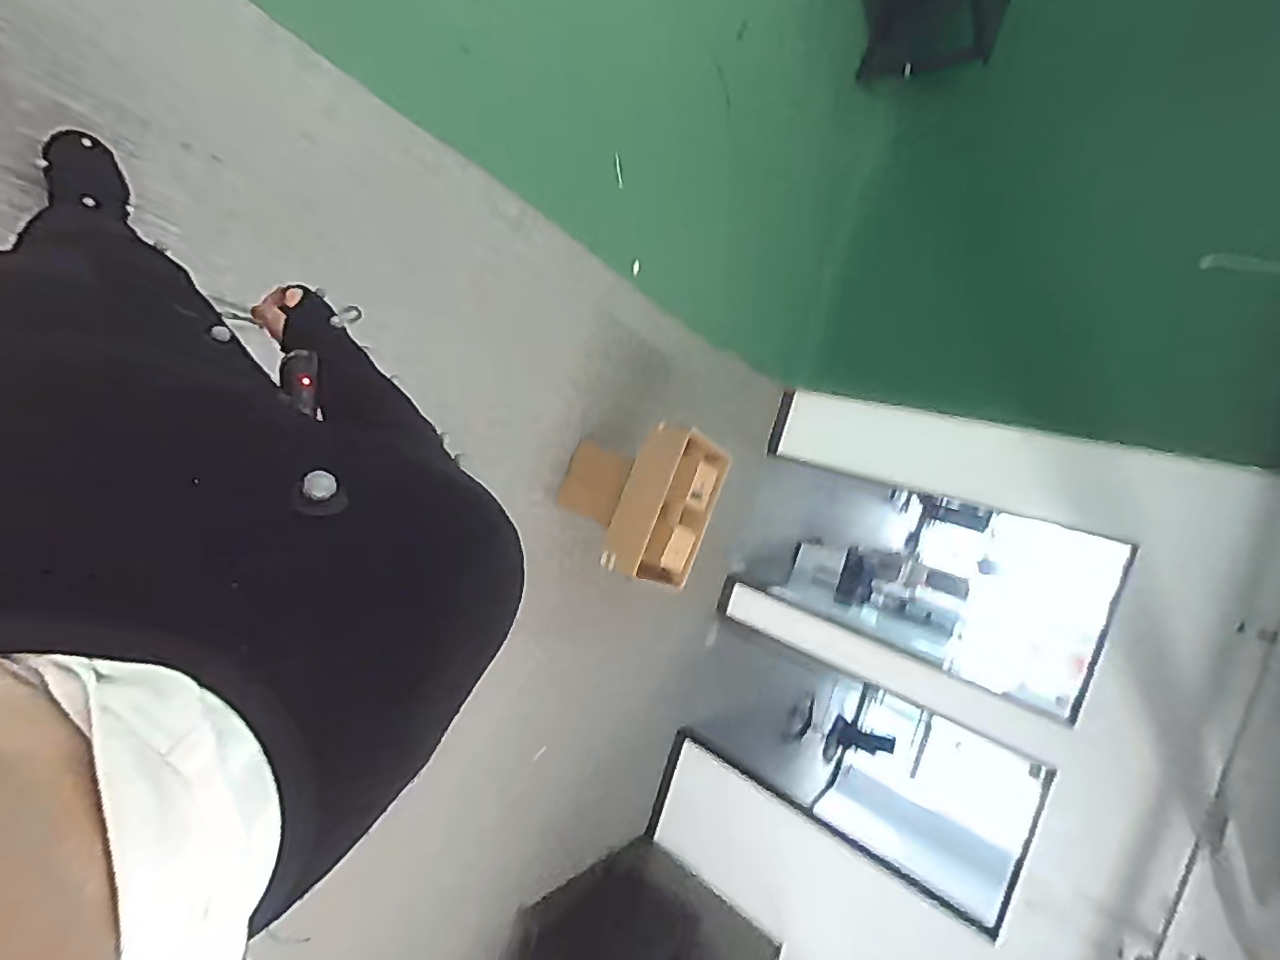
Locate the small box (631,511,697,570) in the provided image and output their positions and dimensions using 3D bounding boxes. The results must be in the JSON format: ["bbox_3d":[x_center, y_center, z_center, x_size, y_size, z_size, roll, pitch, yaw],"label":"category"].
[{"bbox_3d":[0.095,0.237,2.159,0.179,0.176,0.168,33,81,-52],"label":"small box"}]
